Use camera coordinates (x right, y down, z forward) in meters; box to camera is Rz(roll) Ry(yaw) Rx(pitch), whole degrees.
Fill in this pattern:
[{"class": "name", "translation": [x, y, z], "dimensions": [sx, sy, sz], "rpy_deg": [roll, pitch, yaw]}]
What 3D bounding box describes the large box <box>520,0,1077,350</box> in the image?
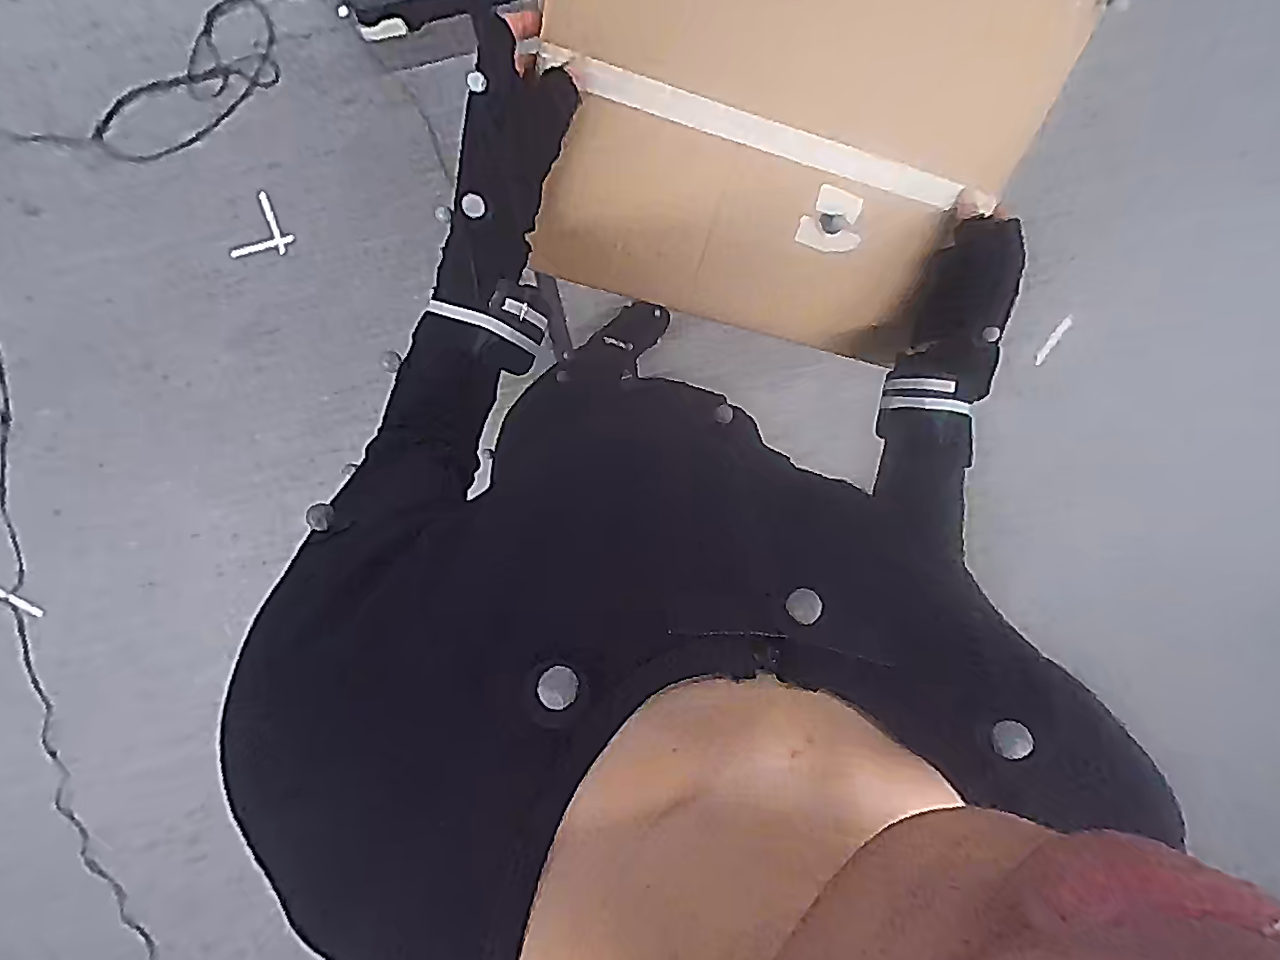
[{"class": "large box", "translation": [0.104, -0.372, 0.579], "dimensions": [0.408, 0.320, 0.320], "rpy_deg": [10, 123, -10]}]
